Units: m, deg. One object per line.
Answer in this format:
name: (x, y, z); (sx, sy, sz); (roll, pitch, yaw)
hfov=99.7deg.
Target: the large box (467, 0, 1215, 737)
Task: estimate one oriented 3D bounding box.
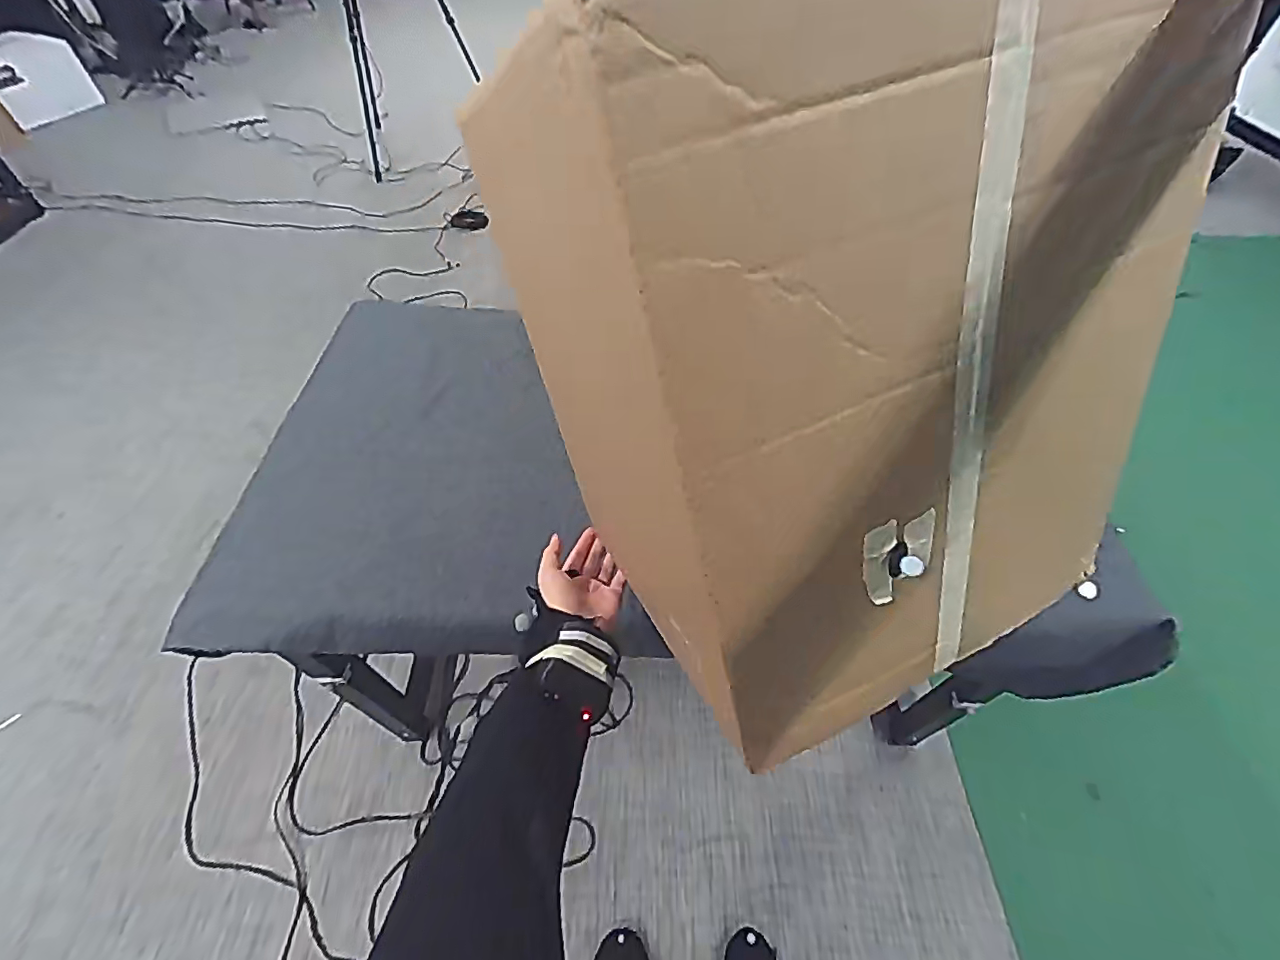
large box: (0.108, -0.103, 0.421); (0.320, 0.408, 0.320); (-24, 34, -12)
